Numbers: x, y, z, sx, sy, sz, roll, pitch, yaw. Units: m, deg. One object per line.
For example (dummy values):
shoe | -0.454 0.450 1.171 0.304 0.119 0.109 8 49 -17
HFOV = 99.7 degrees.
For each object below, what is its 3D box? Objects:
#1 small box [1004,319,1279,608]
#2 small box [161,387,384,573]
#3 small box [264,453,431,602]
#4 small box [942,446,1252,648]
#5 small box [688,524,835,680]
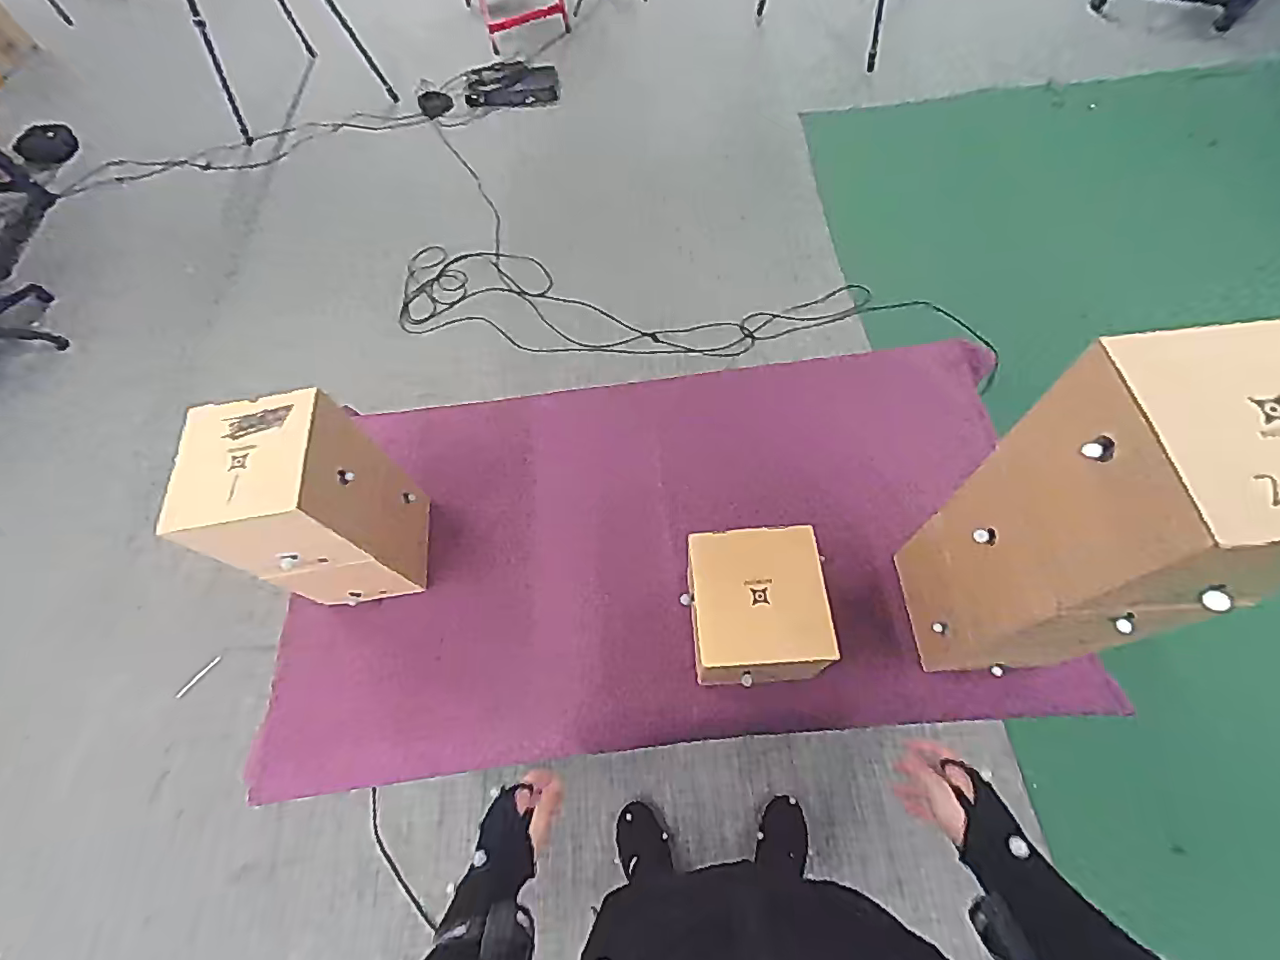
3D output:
small box | 0.442 -0.005 0.443 0.168 0.176 0.179 -5 63 5
small box | -0.462 0.006 0.715 0.168 0.176 0.179 -10 63 2
small box | -0.448 0.080 0.861 0.168 0.176 0.179 -9 64 1
small box | 0.459 0.074 0.586 0.168 0.176 0.179 -4 62 5
small box | 0.158 0.177 0.753 0.168 0.176 0.179 -5 62 4
